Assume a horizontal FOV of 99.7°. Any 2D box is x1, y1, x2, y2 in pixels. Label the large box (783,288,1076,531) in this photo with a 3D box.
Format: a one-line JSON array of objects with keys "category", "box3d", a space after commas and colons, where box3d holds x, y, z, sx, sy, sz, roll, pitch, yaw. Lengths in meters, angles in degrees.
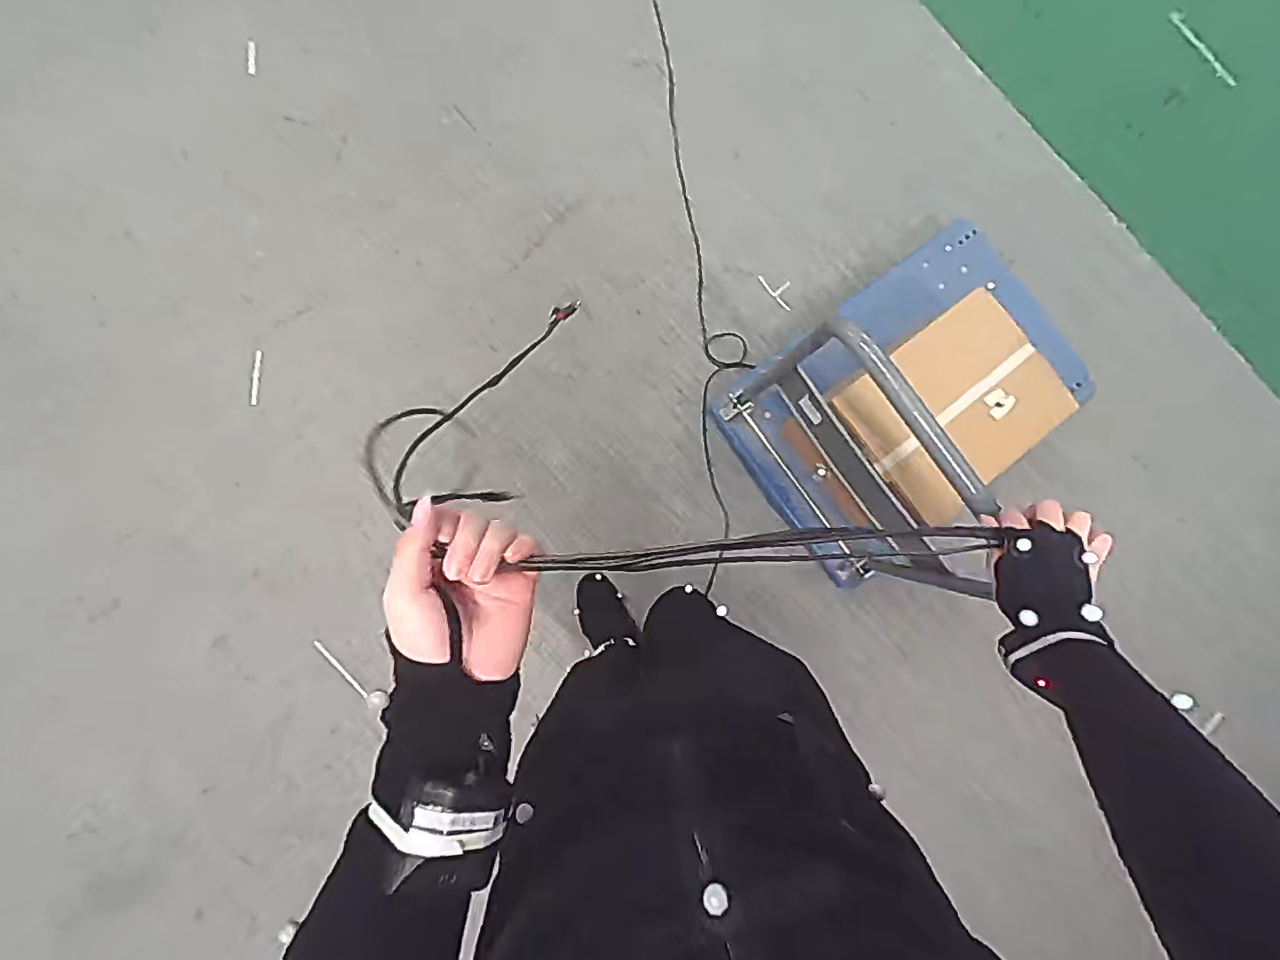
[{"category": "large box", "box3d": [0.598, -0.127, 1.185, 0.408, 0.320, 0.320, -37, 89, -7]}]
